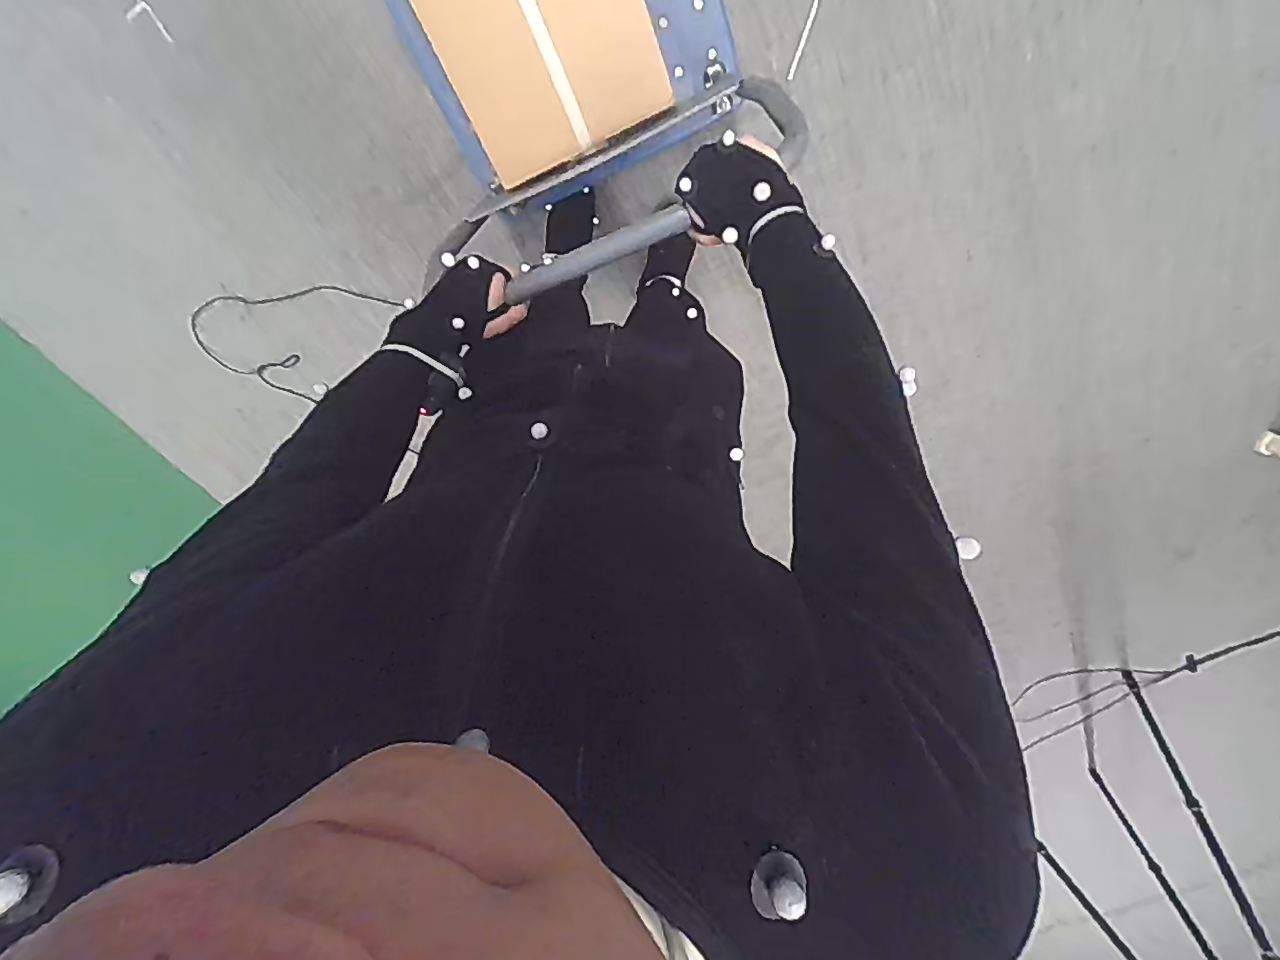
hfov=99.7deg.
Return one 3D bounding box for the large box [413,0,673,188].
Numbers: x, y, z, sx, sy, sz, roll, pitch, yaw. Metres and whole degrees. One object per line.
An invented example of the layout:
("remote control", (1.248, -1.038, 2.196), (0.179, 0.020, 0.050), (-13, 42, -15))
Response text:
("large box", (-0.157, -0.782, 0.915), (0.320, 0.320, 0.408), (-19, 122, 14))
